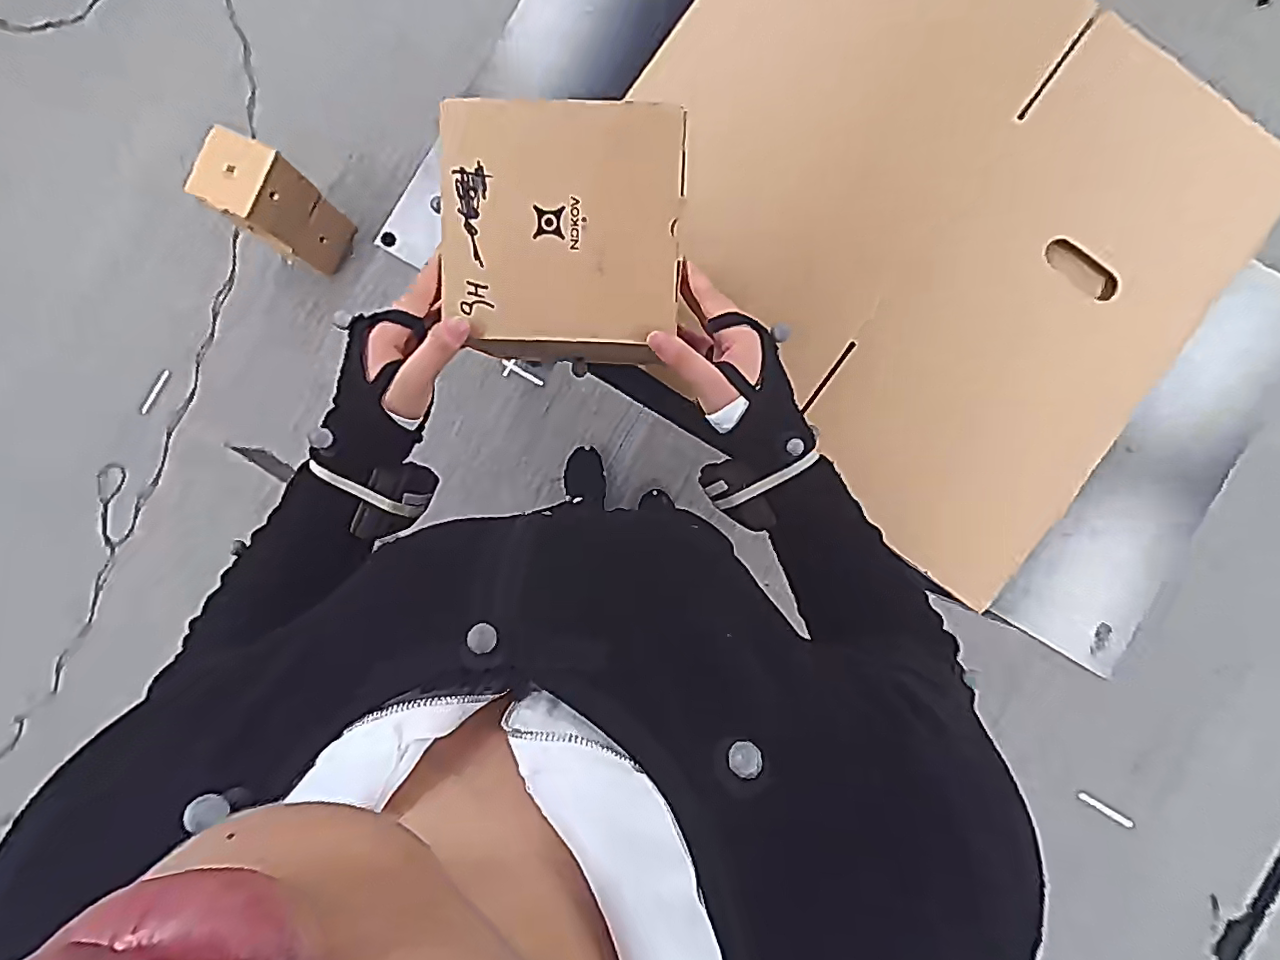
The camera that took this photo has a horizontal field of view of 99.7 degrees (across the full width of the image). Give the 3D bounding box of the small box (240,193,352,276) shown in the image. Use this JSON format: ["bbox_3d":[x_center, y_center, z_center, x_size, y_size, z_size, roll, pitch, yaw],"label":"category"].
[{"bbox_3d":[-0.931,-0.699,1.486,0.168,0.176,0.179,27,90,3],"label":"small box"}]

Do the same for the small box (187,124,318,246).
[{"bbox_3d":[-0.935,-0.709,1.324,0.168,0.176,0.179,25,89,2],"label":"small box"}]

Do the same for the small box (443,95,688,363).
[{"bbox_3d":[-0.057,-0.196,0.471,0.179,0.176,0.168,1,96,-1],"label":"small box"}]
